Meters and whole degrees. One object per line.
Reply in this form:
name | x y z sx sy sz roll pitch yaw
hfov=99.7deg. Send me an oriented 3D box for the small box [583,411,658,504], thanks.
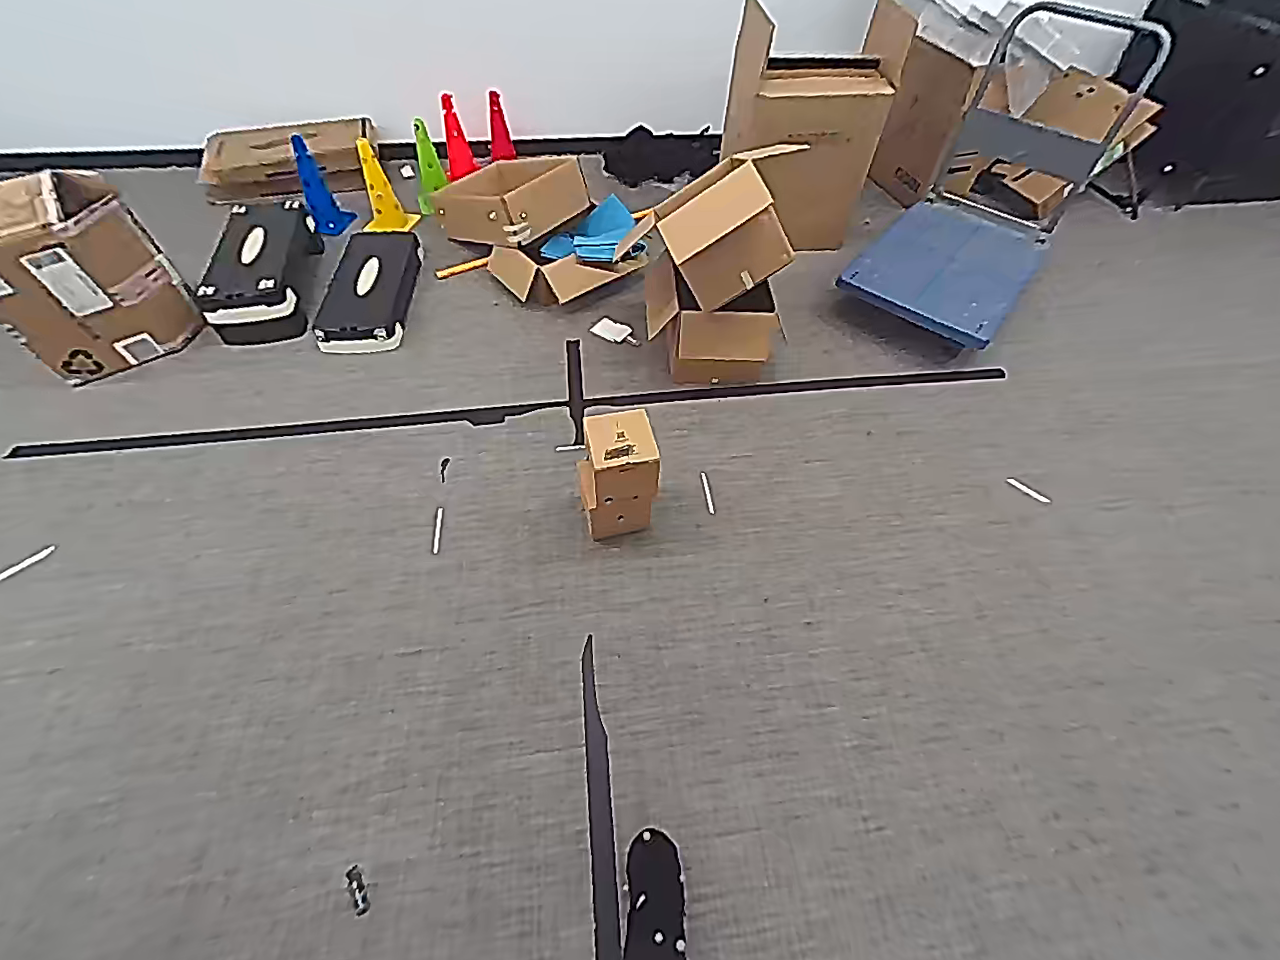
small box | -0.052 -0.051 1.415 0.168 0.176 0.179 -9 54 -9
